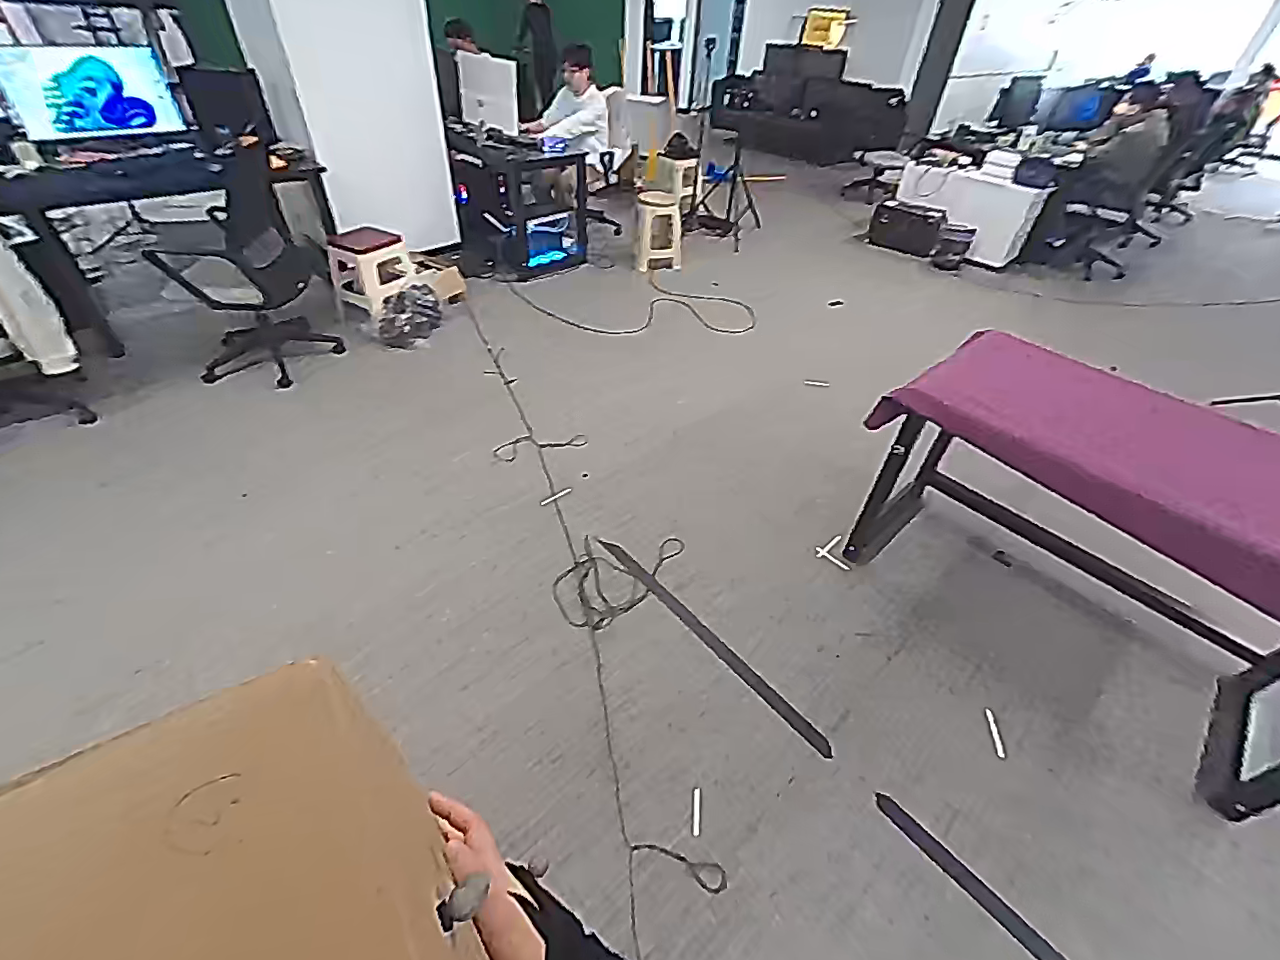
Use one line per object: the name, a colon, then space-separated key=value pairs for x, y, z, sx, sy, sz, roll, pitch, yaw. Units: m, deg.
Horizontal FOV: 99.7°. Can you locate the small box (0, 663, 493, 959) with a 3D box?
small box: x=-0.144 y=0.197 z=0.182 sx=0.179 sy=0.176 sz=0.168 roll=-21 pitch=59 yaw=-26
